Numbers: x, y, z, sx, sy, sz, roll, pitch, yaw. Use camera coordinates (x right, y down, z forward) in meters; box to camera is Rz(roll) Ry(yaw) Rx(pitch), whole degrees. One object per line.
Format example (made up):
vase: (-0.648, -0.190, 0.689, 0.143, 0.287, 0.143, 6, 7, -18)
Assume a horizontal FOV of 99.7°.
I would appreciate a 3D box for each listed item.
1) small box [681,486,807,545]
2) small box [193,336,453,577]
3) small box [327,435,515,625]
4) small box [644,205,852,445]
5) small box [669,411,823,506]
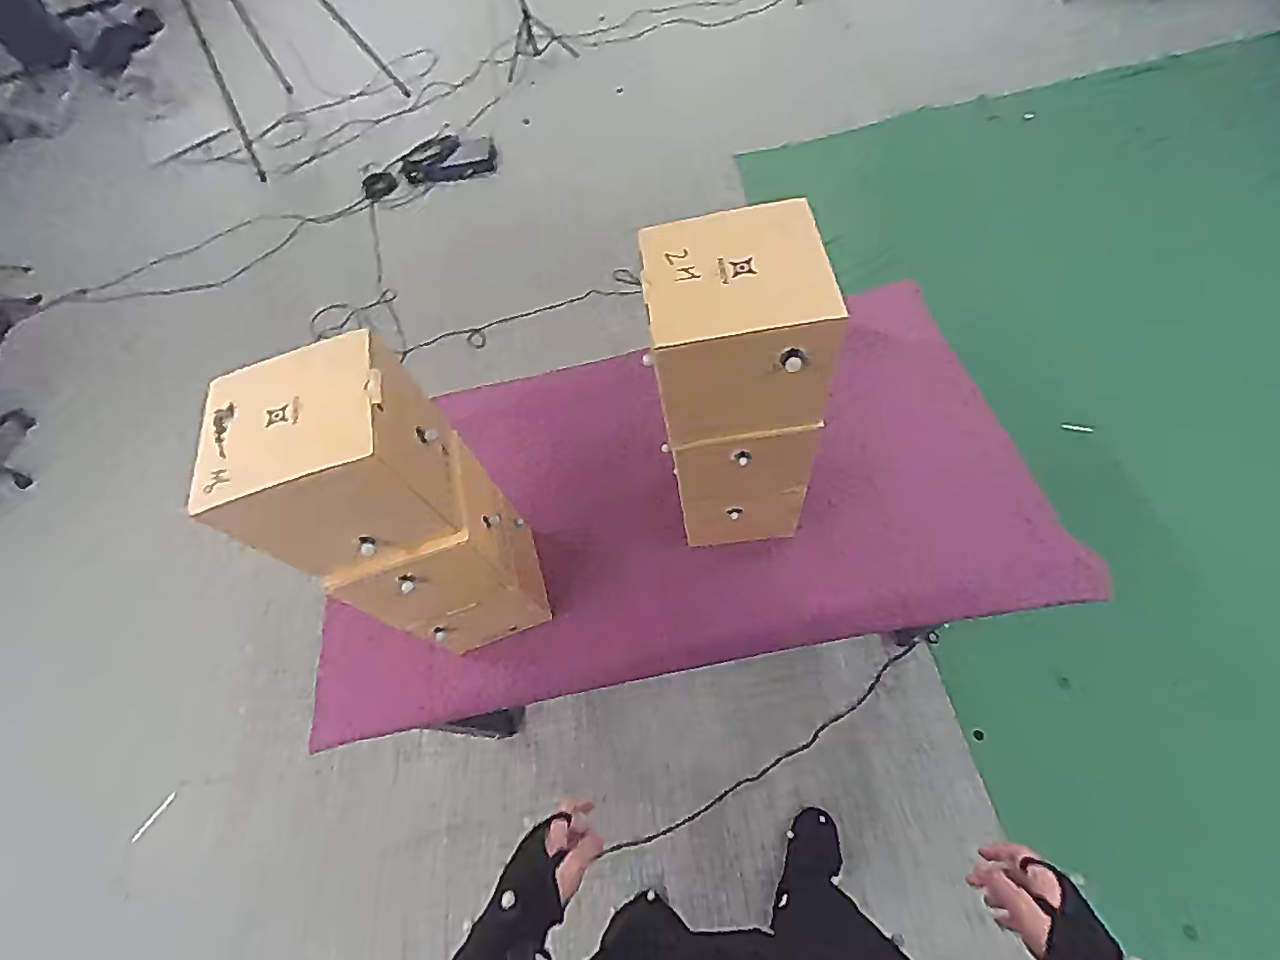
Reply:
small box: (0.157, -0.003, 0.866, 0.179, 0.176, 0.168, -6, 61, 6)
small box: (-0.314, -0.017, 0.578, 0.179, 0.176, 0.168, -17, 59, 0)
small box: (-0.276, 0.072, 0.712, 0.179, 0.176, 0.168, -19, 59, 0)
small box: (0.105, -0.156, 0.581, 0.179, 0.176, 0.168, -8, 61, 6)
small box: (0.131, -0.076, 0.723, 0.179, 0.176, 0.168, -7, 62, 6)
